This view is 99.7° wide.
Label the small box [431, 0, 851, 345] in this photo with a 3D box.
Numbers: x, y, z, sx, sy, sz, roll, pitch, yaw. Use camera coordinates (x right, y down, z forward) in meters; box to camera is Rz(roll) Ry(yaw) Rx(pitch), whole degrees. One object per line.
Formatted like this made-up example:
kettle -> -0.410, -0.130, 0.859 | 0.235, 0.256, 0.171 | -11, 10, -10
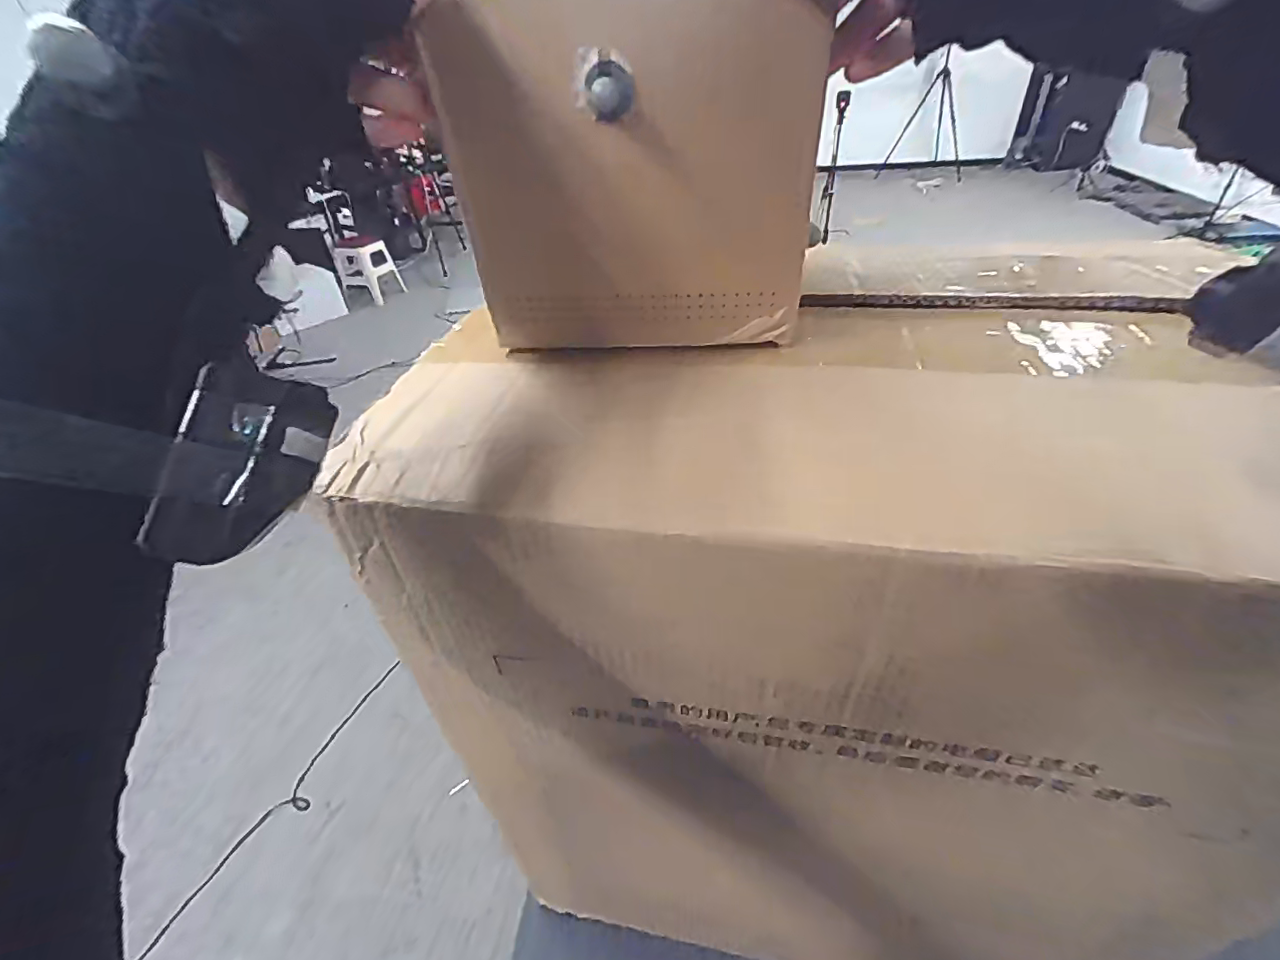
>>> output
small box -> 0.013, -0.194, 0.322 | 0.179, 0.176, 0.168 | 2, 46, 7
